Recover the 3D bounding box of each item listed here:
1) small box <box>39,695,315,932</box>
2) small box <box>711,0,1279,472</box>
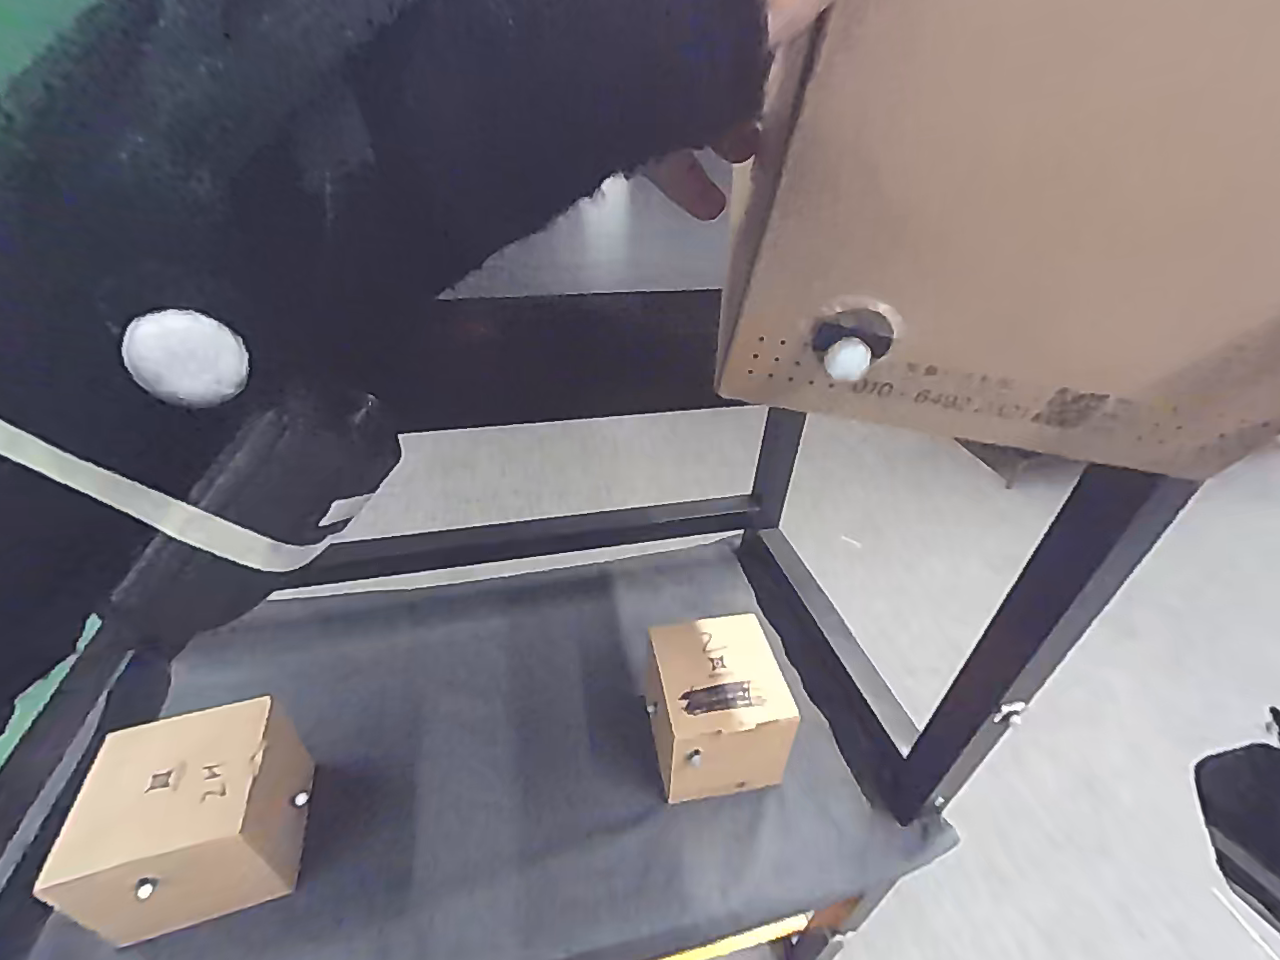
[{"bbox_3d":[-0.522,0.396,0.648,0.179,0.176,0.168,-8,37,-16],"label":"small box"},{"bbox_3d":[0.121,-0.125,0.170,0.168,0.176,0.179,10,52,1],"label":"small box"}]
